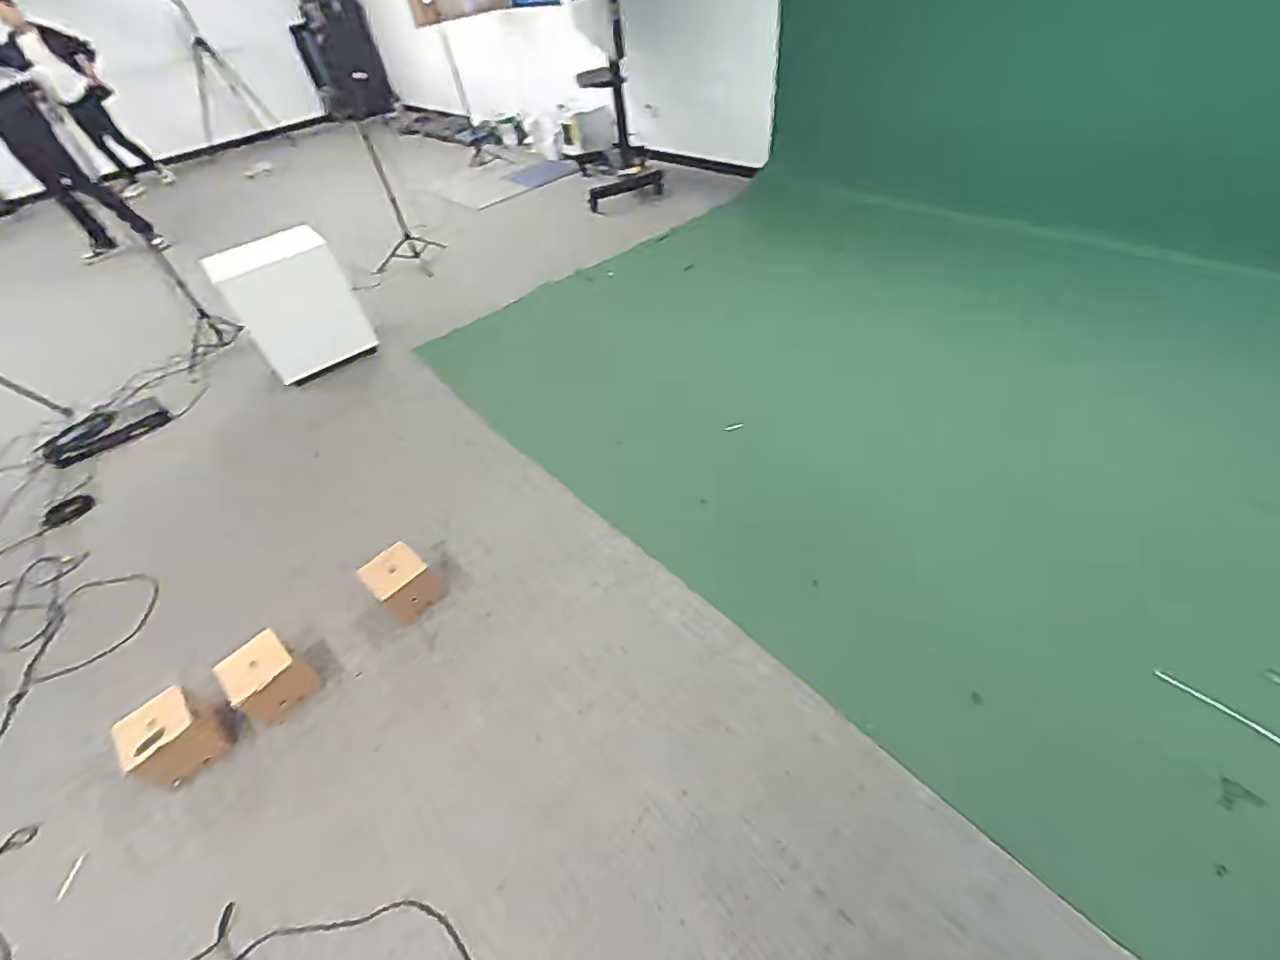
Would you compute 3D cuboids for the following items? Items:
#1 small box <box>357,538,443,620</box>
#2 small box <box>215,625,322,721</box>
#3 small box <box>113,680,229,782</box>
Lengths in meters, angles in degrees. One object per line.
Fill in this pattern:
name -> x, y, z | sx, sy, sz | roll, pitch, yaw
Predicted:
small box -> -0.775, 0.329, 1.762 | 0.179, 0.176, 0.168 | 31, 56, 31
small box -> -1.079, 0.566, 1.579 | 0.179, 0.176, 0.168 | 30, 58, 30
small box -> -1.277, 0.695, 1.482 | 0.179, 0.176, 0.168 | 32, 58, 33
